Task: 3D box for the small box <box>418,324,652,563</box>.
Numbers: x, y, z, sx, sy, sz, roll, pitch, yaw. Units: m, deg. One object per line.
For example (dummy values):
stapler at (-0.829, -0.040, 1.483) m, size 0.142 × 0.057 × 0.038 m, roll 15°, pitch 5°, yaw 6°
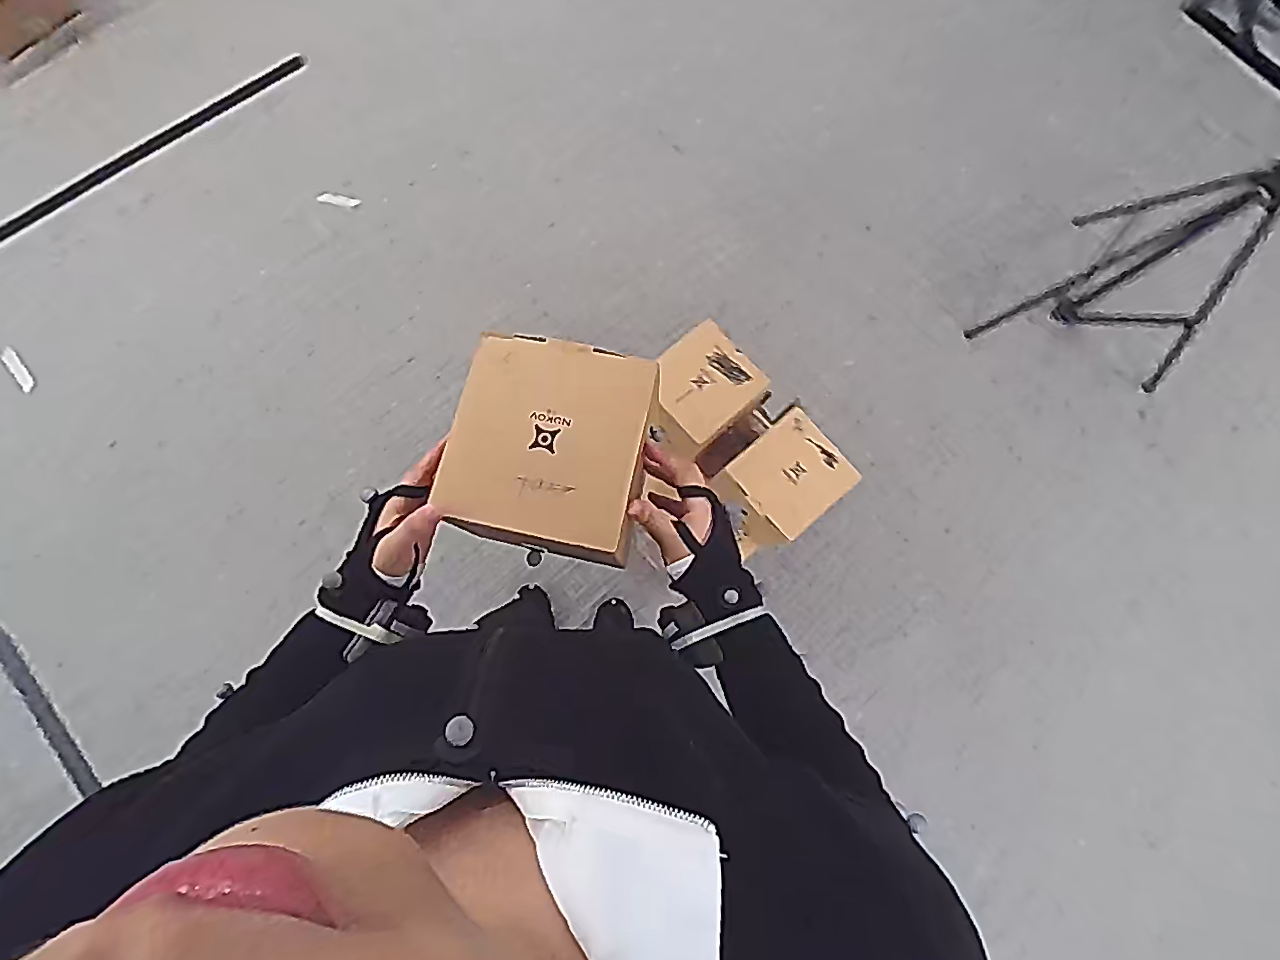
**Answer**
small box at (-0.085, -0.023, 0.533) m, size 0.168 × 0.176 × 0.179 m, roll 10°, pitch 77°, yaw 4°
